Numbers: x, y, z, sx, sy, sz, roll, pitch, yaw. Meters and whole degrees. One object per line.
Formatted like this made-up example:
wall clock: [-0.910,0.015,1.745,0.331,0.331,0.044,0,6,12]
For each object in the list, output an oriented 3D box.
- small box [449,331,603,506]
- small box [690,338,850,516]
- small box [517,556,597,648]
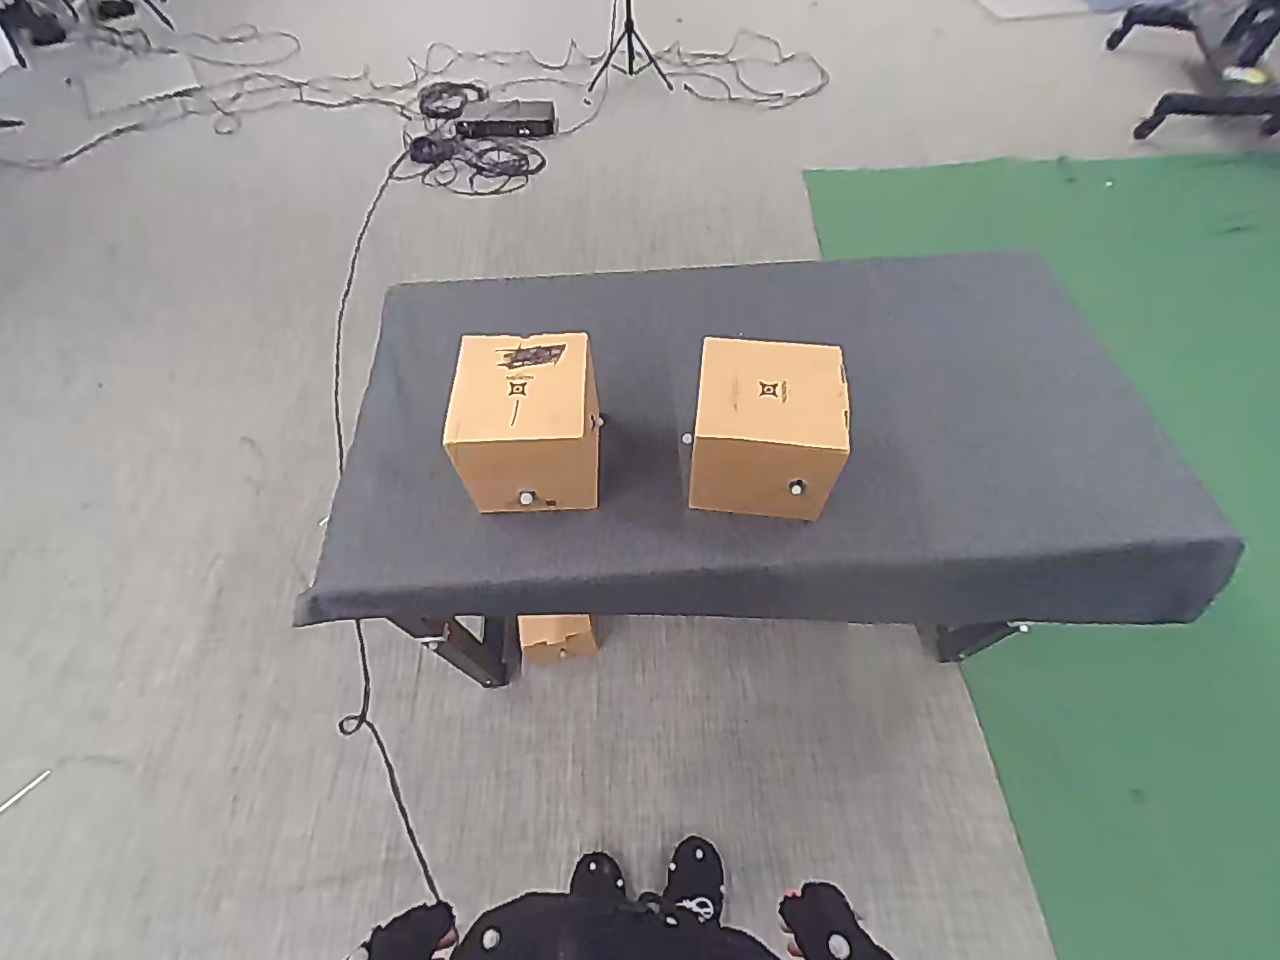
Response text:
small box: [-0.140,-0.081,0.737,0.168,0.176,0.179,-1,59,1]
small box: [0.165,-0.065,0.722,0.179,0.176,0.168,6,58,6]
small box: [-0.204,0.313,1.356,0.168,0.176,0.179,-10,60,-5]
